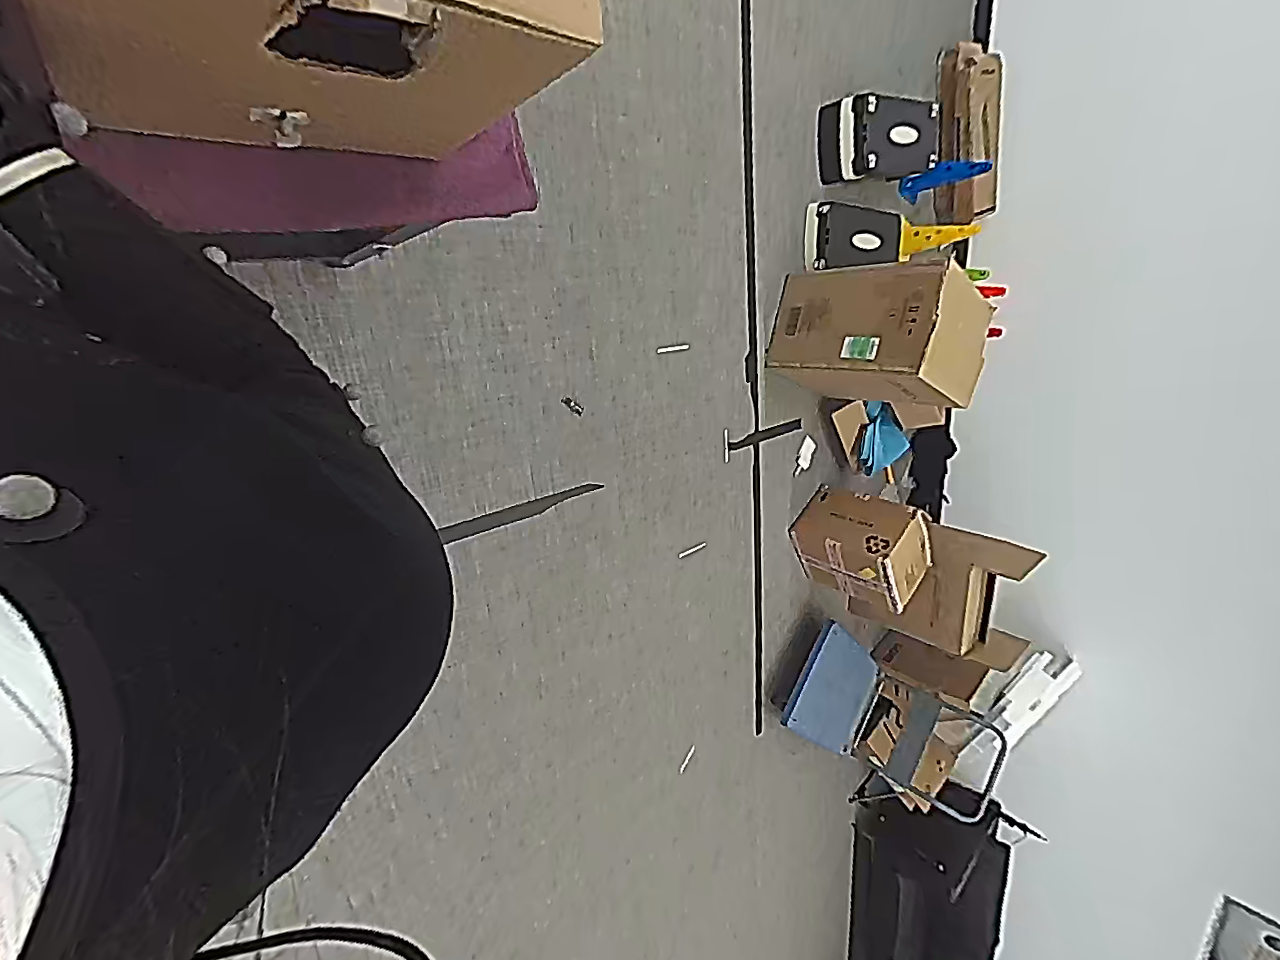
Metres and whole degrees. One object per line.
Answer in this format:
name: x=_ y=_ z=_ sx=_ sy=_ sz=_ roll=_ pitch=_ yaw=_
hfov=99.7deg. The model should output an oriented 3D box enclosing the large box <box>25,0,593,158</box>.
large box: x=-0.265 y=-0.483 z=0.356 sx=0.320 sy=0.320 sz=0.408 roll=-20 pitch=112 yaw=-38
